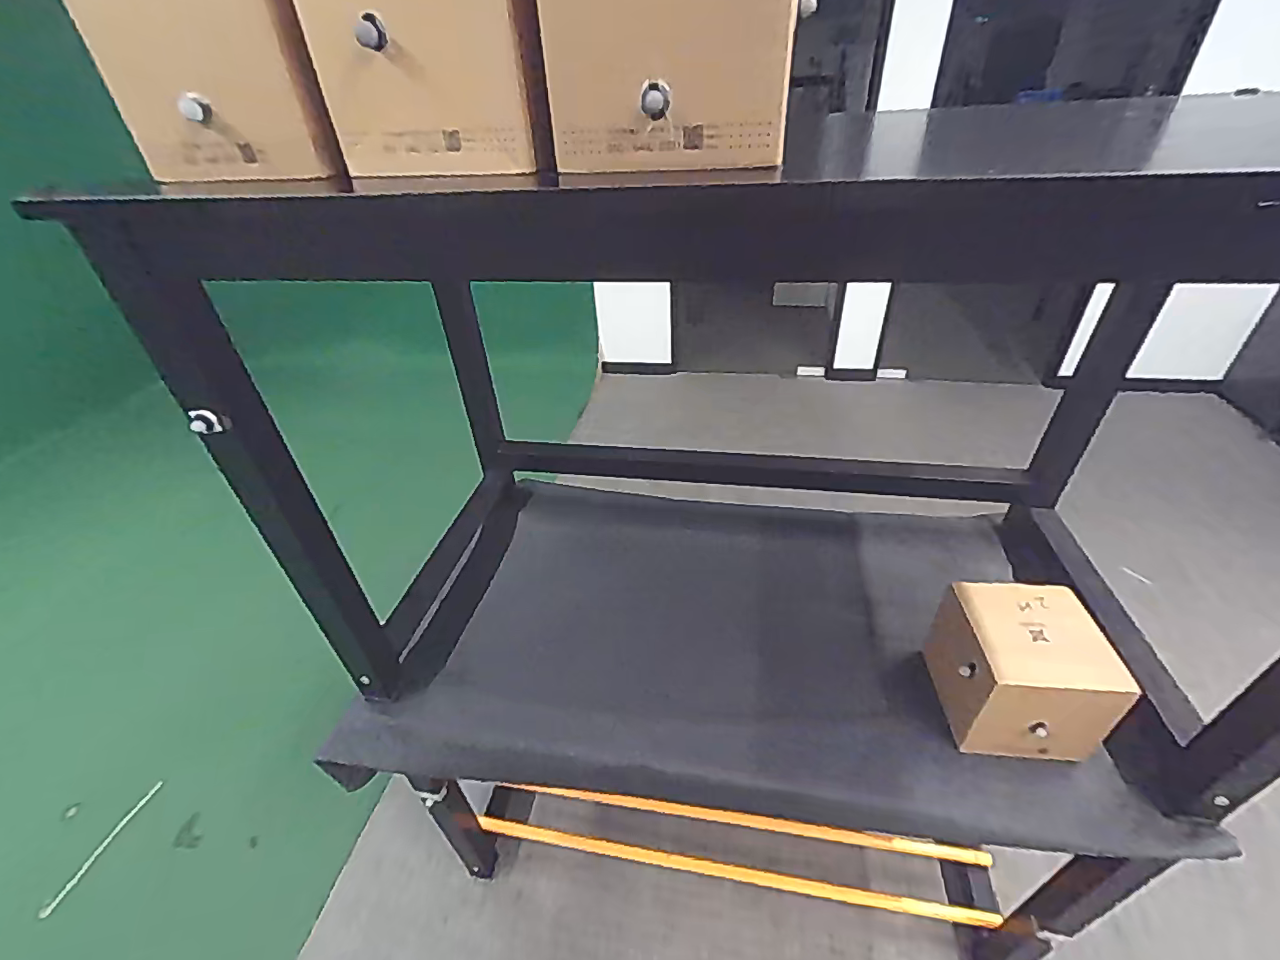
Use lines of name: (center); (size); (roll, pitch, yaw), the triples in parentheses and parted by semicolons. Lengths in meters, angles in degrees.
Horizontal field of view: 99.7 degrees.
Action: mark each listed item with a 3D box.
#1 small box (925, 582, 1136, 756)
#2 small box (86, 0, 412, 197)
small box: (0.539, 0.271, 0.779); (0.168, 0.176, 0.179); (1, 36, 7)
small box: (-0.331, -0.365, 0.487); (0.168, 0.176, 0.179); (3, 38, 8)
